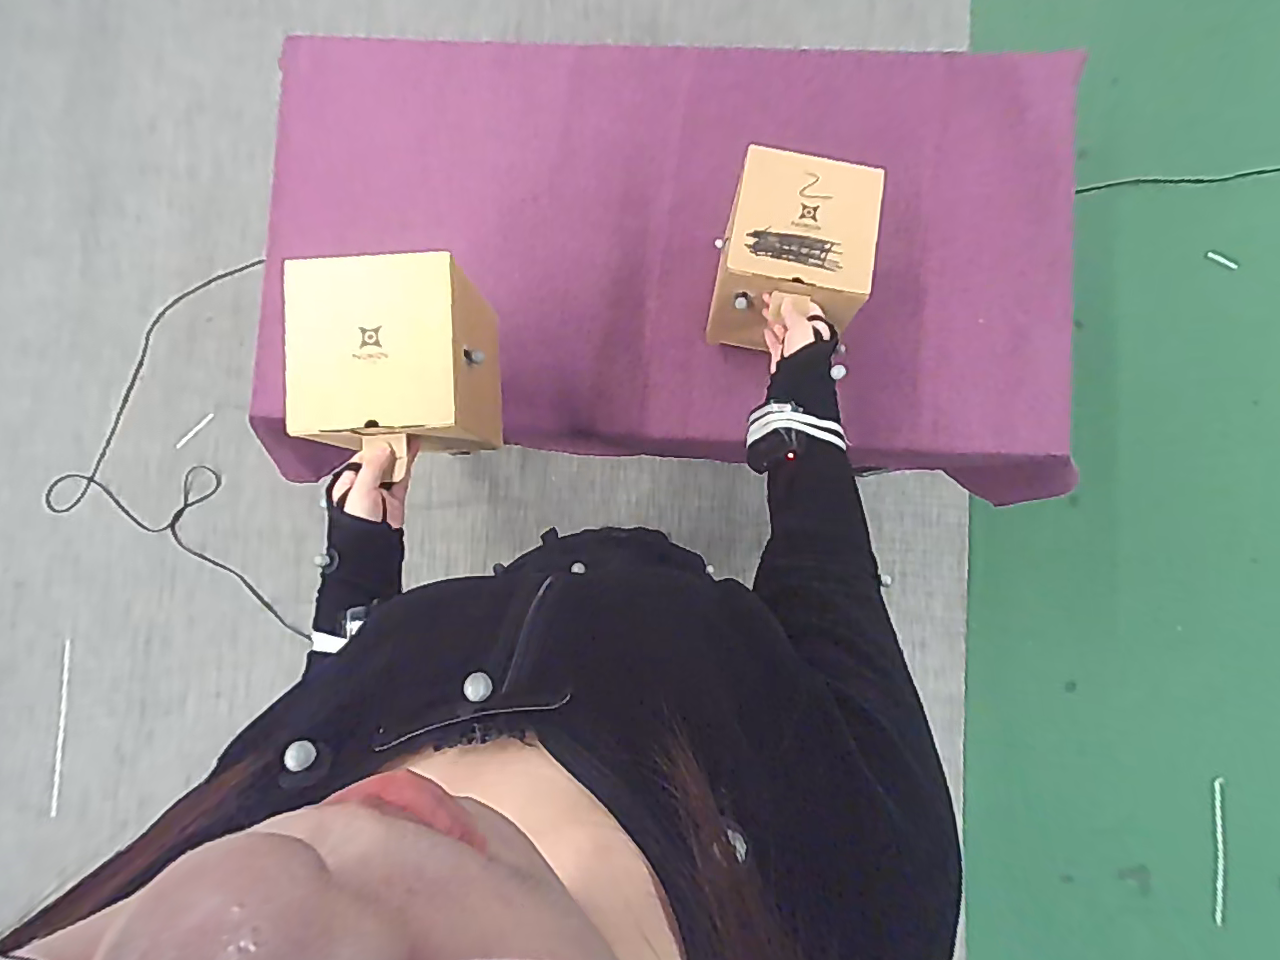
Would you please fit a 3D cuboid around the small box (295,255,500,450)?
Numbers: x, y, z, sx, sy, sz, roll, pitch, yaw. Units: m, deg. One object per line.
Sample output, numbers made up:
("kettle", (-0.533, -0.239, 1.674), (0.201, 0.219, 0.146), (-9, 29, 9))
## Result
("small box", (-0.264, -0.134, 0.622), (0.168, 0.176, 0.179), (-3, 87, 0))
